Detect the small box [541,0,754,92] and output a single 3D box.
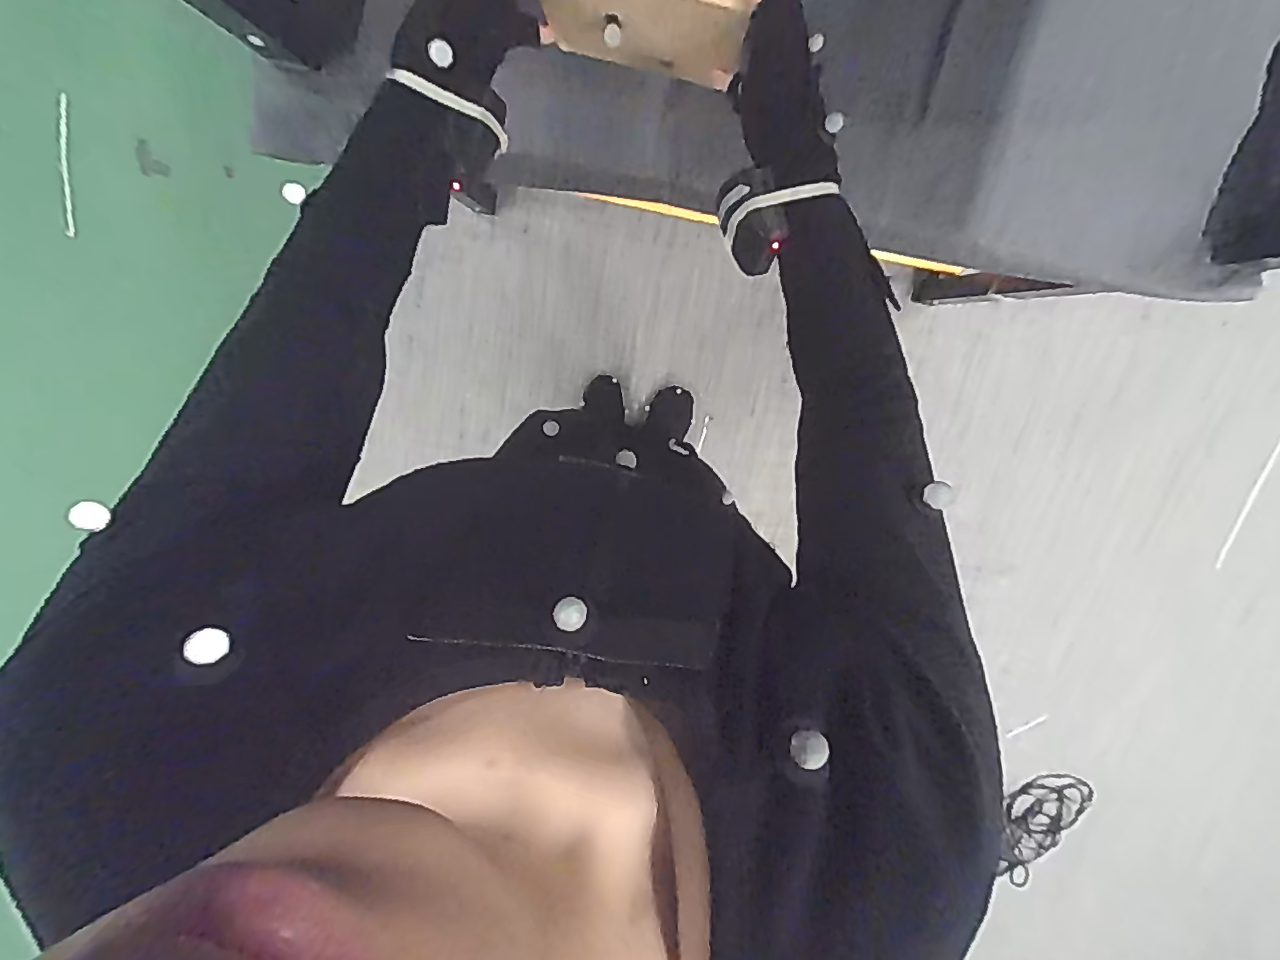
[{"bbox_3d":[0.019,-0.436,0.415,0.168,0.176,0.179,12,109,-2],"label":"small box"}]
